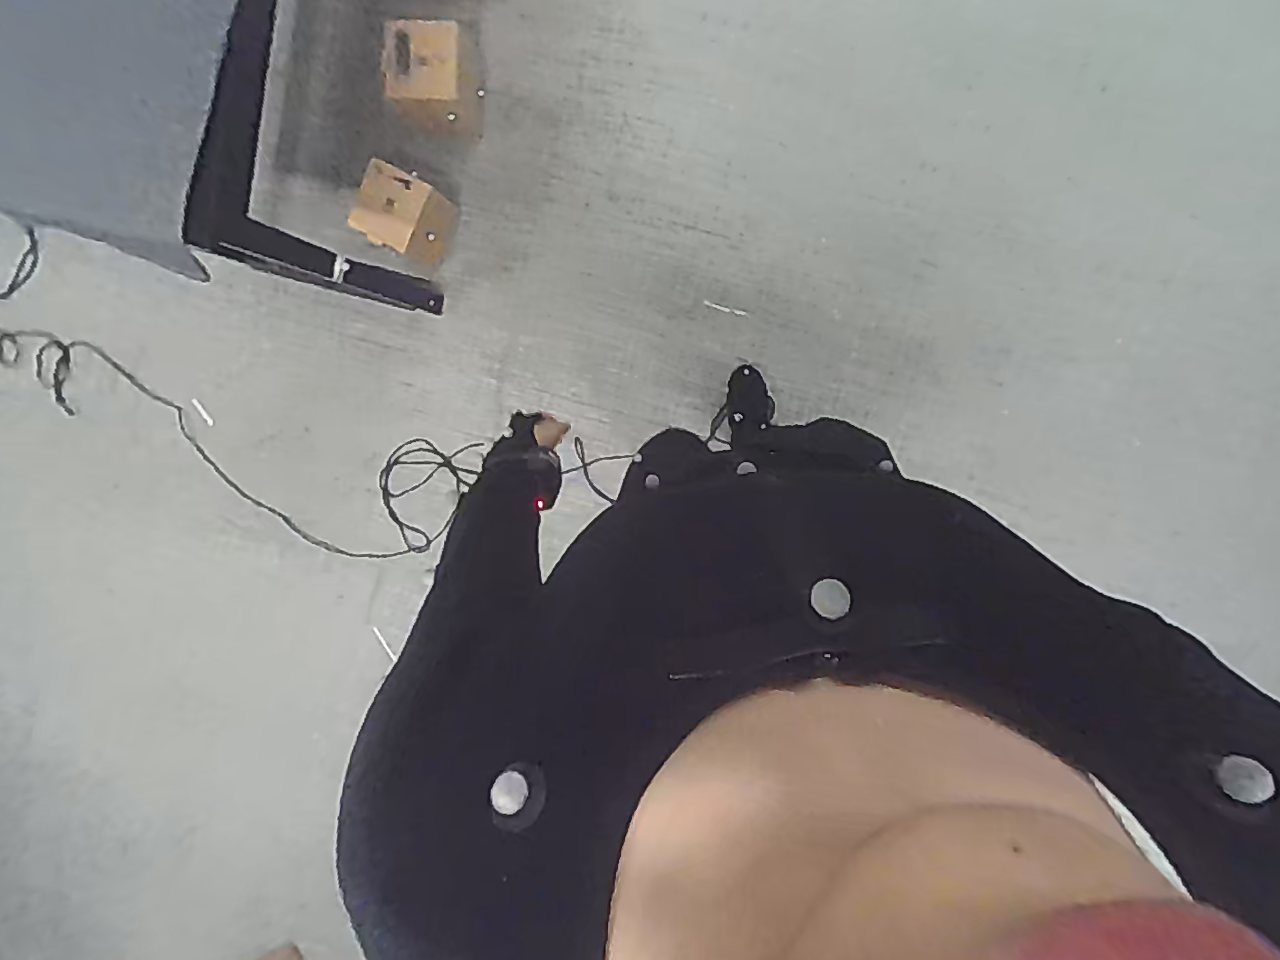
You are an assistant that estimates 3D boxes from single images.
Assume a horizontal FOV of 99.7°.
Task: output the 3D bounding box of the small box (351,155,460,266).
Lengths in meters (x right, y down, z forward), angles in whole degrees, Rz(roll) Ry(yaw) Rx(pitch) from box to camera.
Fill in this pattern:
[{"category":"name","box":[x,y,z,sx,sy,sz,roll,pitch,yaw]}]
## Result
[{"category":"small box","box":[-0.587,-0.673,1.377,0.168,0.176,0.179,28,101,2]}]
